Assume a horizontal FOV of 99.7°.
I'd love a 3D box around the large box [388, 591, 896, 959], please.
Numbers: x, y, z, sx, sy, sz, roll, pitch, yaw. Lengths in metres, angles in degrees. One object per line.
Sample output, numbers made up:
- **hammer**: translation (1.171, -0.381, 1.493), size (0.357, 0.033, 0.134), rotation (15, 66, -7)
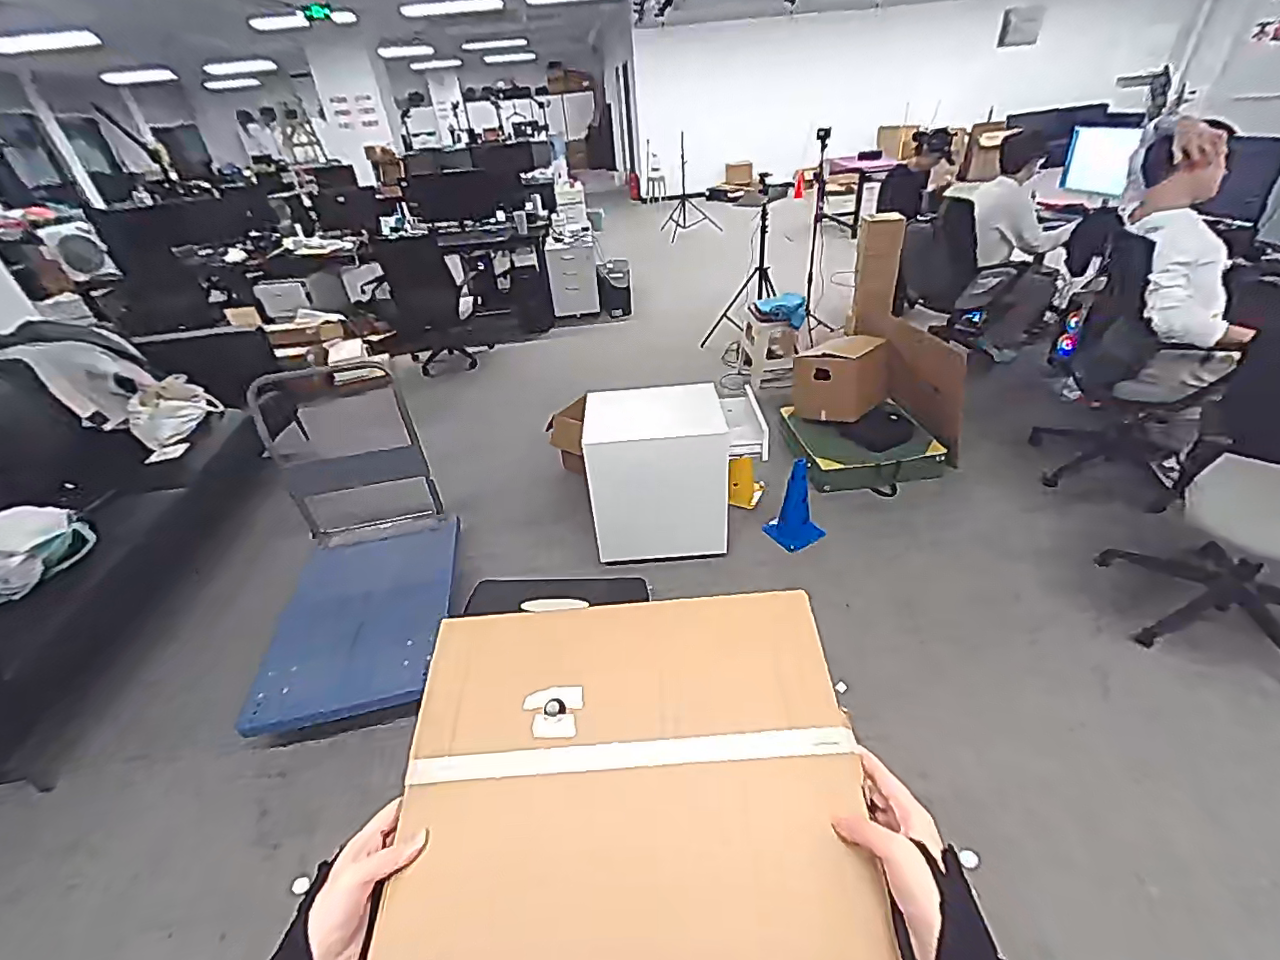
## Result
- **large box**: translation (0.008, 0.357, 0.618), size (0.408, 0.320, 0.320), rotation (-7, 48, 4)
